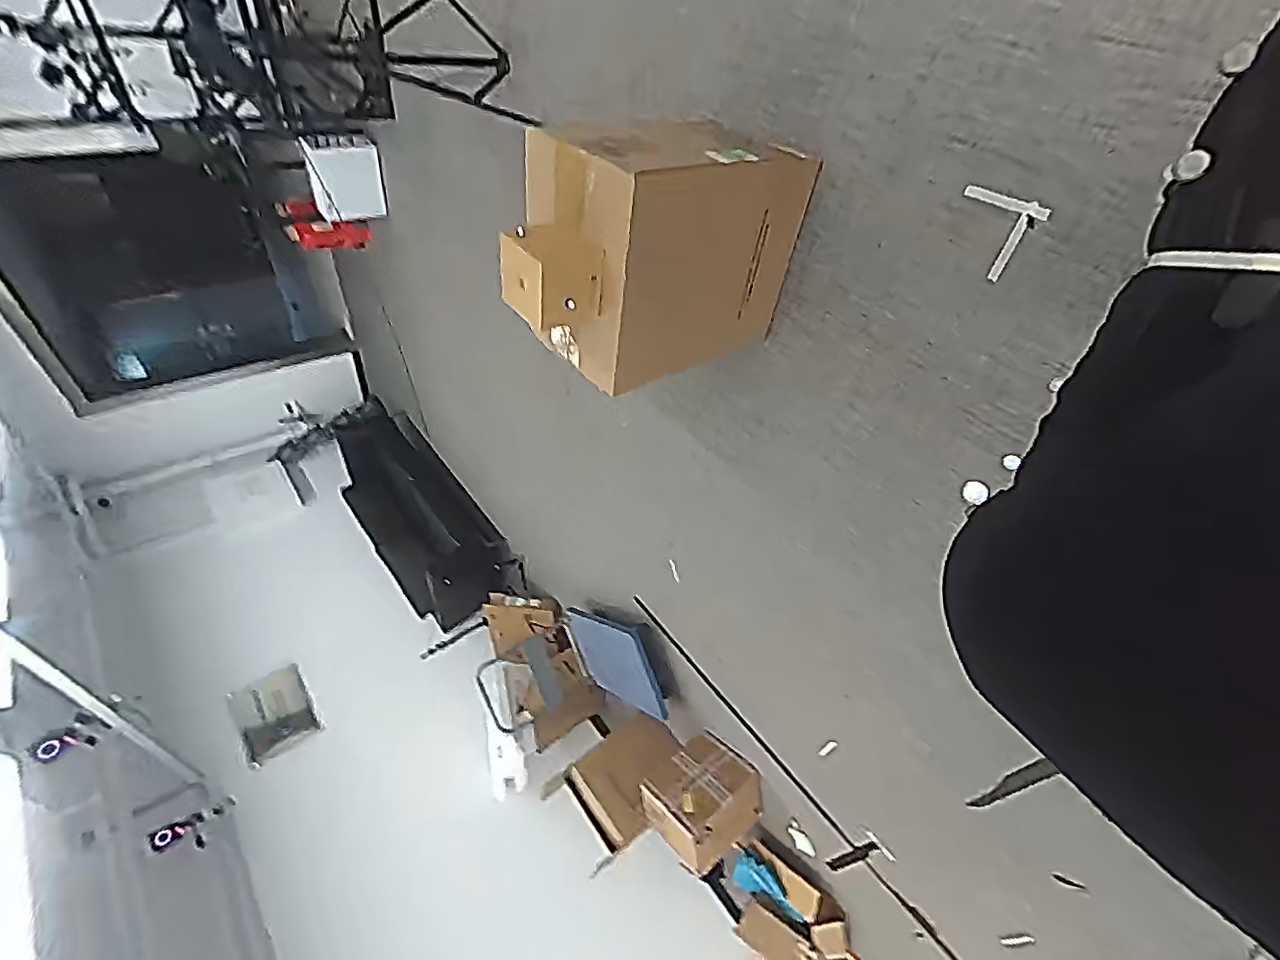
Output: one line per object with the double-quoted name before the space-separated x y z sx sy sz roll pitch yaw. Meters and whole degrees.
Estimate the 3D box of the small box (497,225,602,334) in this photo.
"small box" -0.202 -0.463 1.229 0.179 0.176 0.168 44 144 29
